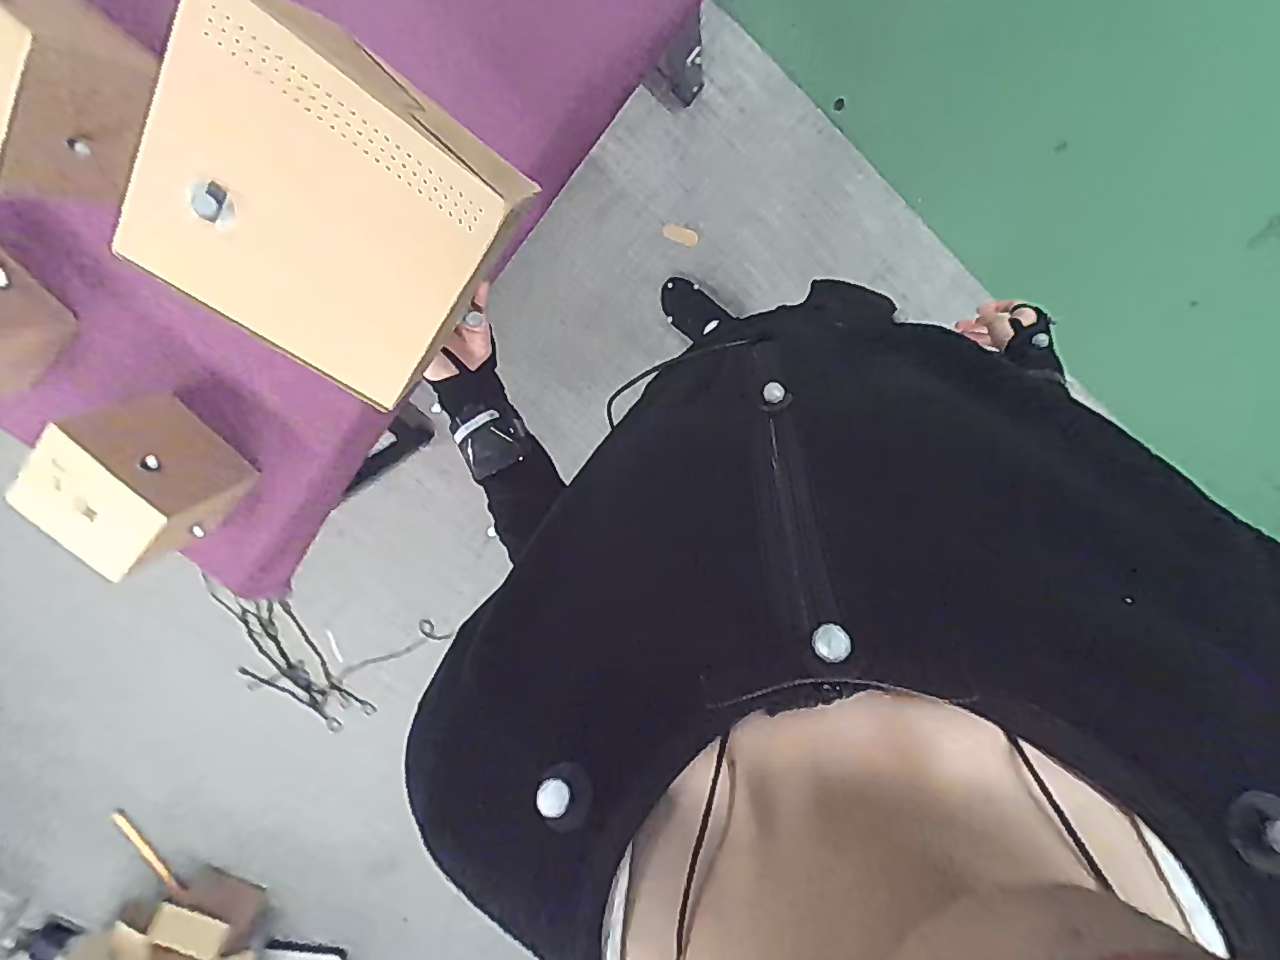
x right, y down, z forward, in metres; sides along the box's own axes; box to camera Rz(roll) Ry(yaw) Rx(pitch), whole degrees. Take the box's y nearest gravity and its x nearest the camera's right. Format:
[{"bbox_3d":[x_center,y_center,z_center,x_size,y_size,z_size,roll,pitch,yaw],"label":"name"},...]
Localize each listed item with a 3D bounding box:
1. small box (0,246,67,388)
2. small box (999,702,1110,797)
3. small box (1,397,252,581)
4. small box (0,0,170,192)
[{"bbox_3d":[-0.944,-0.217,0.717,0.179,0.176,0.168,-34,106,17],"label":"small box"},{"bbox_3d":[1.260,0.817,1.660,0.179,0.176,0.168,37,112,-9],"label":"small box"},{"bbox_3d":[-0.724,0.005,0.784,0.168,0.176,0.179,-38,104,18],"label":"small box"},{"bbox_3d":[-0.679,-0.446,0.594,0.168,0.176,0.179,39,112,-12],"label":"small box"}]
